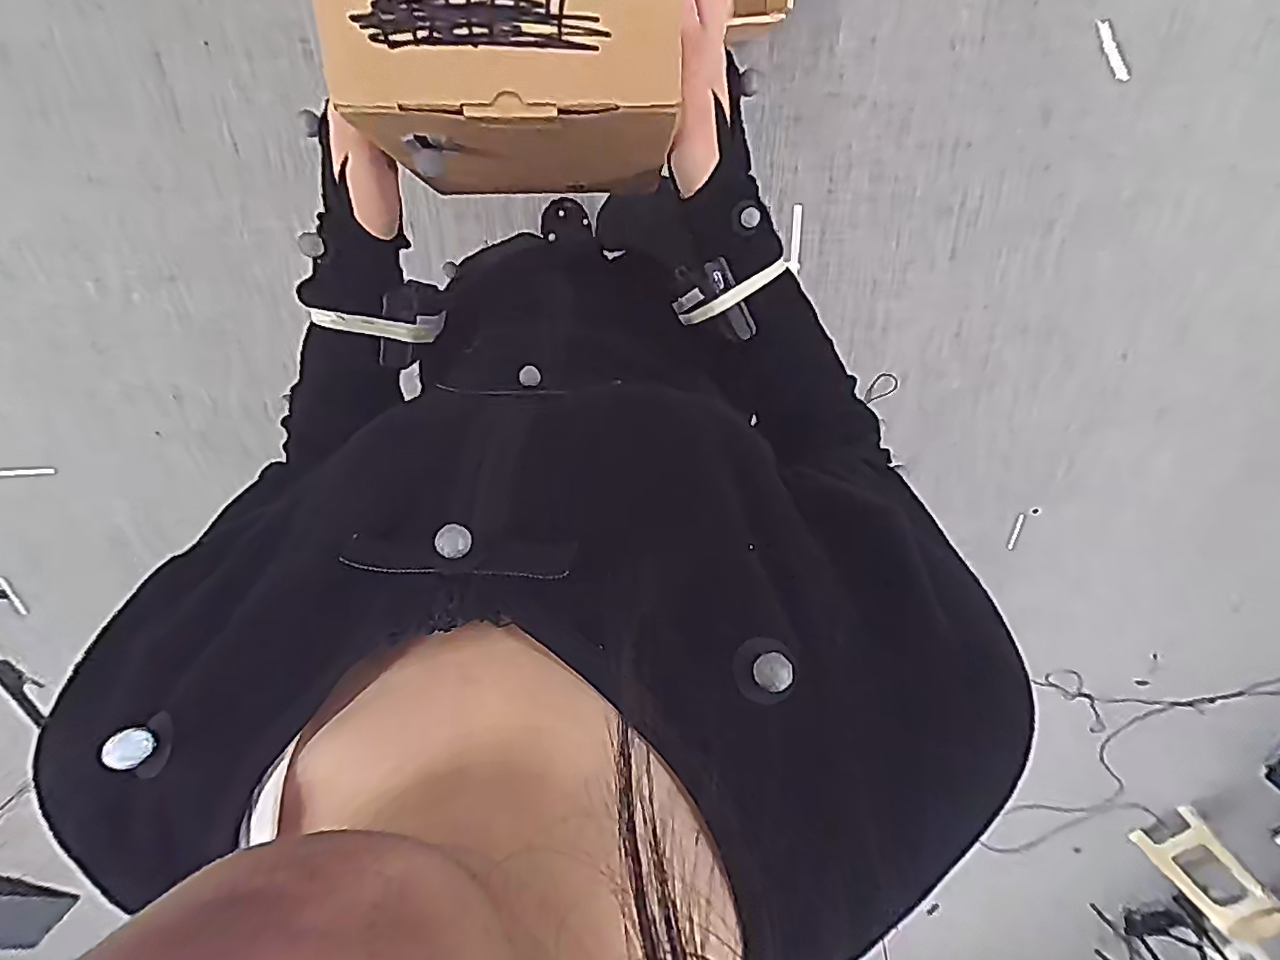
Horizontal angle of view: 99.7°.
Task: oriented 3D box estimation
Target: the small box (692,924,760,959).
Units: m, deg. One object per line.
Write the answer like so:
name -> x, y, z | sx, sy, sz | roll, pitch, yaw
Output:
small box -> 0.233, 1.305, 1.411 | 0.168, 0.176, 0.179 | -6, 119, -5
